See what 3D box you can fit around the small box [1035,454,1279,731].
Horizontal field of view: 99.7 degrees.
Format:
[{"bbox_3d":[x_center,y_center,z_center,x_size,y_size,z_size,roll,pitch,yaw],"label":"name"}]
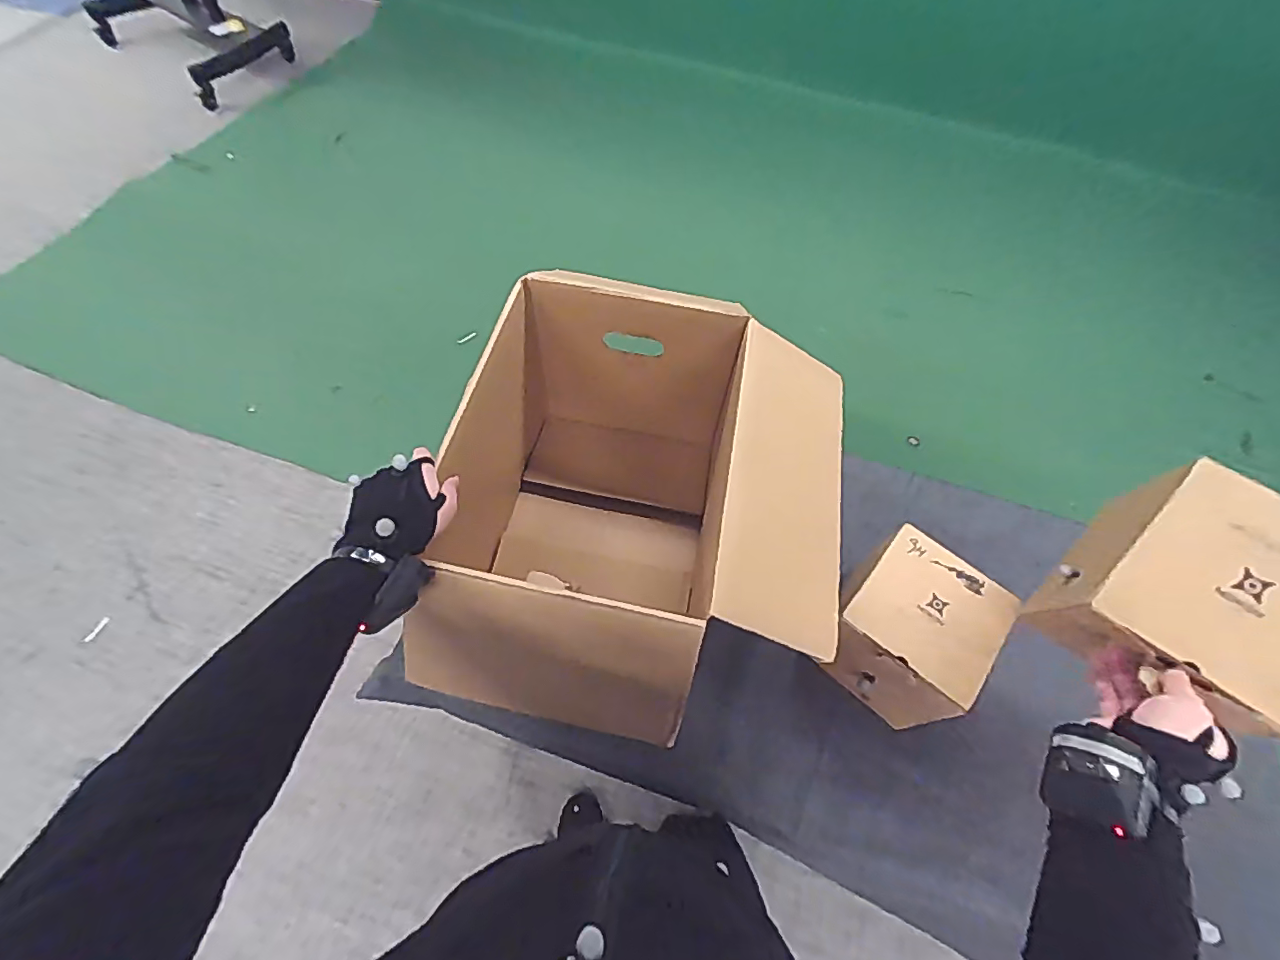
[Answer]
[{"bbox_3d":[0.529,0.109,0.523,0.168,0.176,0.179,38,88,22],"label":"small box"}]
